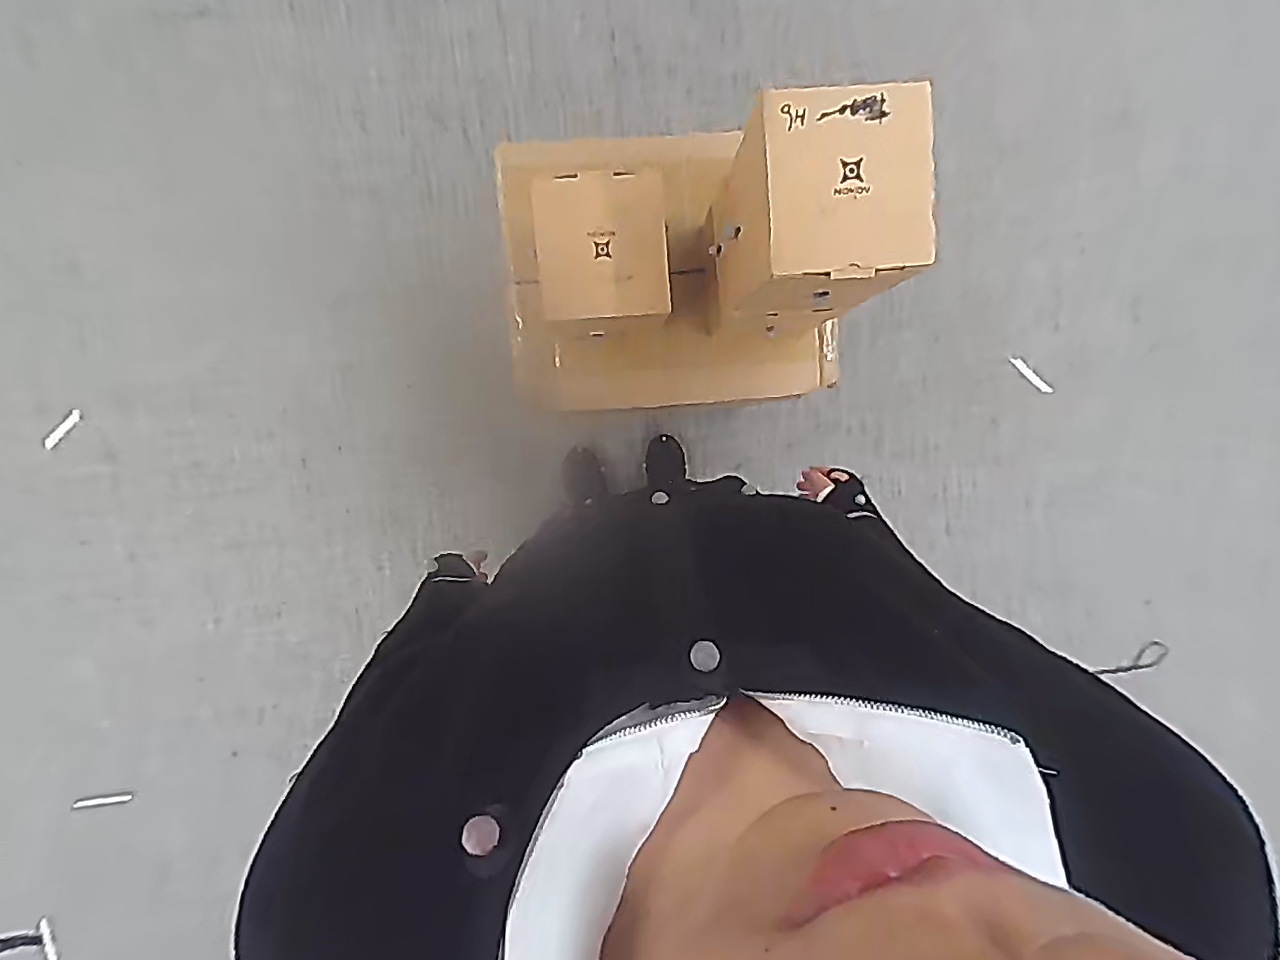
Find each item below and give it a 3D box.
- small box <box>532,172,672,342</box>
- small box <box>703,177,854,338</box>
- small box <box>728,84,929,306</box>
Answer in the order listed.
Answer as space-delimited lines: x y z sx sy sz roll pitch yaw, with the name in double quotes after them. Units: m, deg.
-0.052 -0.300 0.759 0.168 0.176 0.179 -6 97 -3 "small box"
0.187 -0.310 0.771 0.168 0.176 0.179 -6 96 -1 "small box"
0.198 -0.300 0.607 0.168 0.176 0.179 -4 96 -2 "small box"
